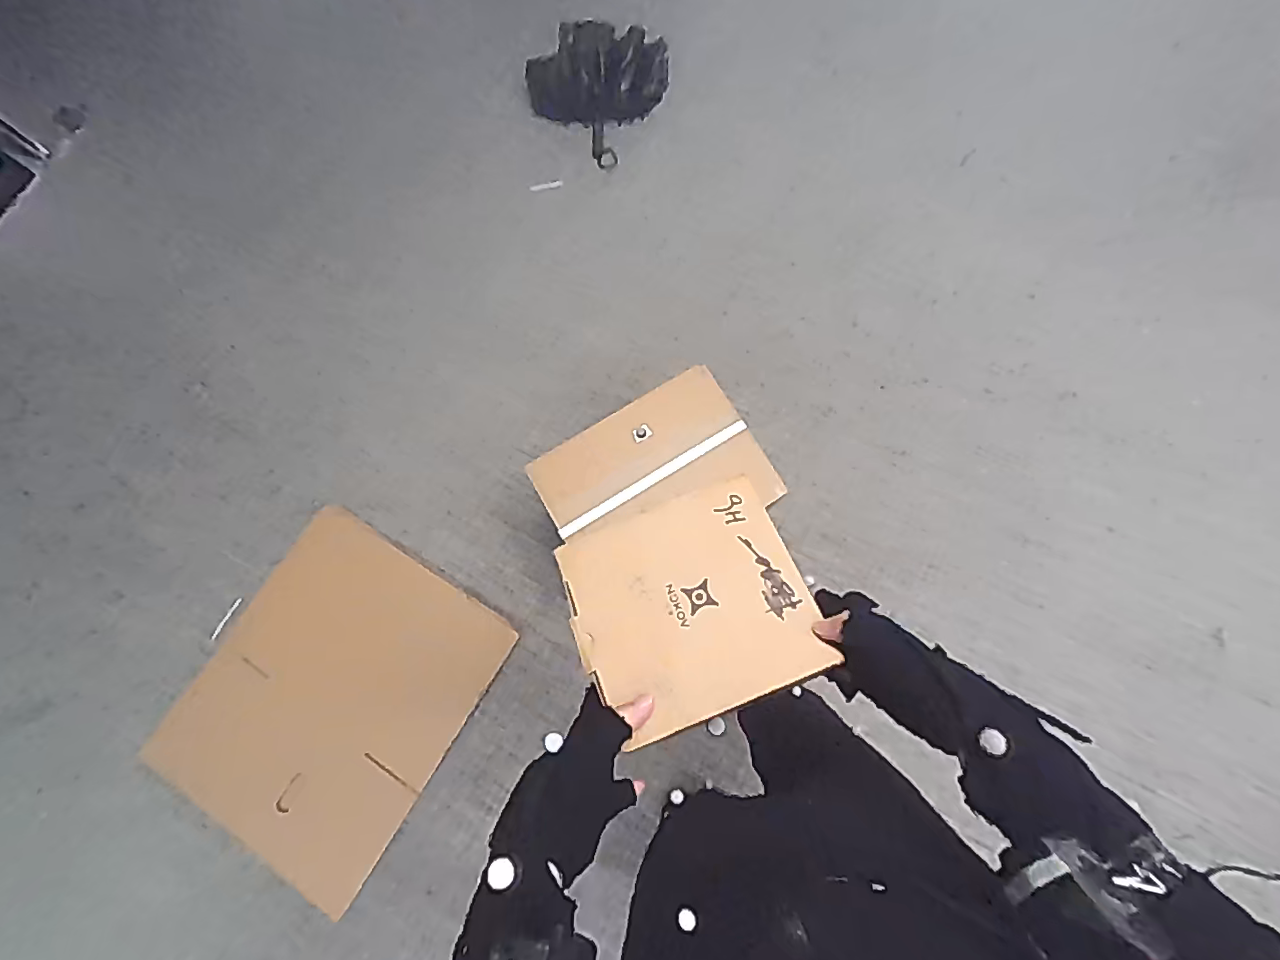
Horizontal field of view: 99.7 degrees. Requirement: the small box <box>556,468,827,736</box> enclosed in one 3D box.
[{"bbox_3d":[0.047,0.124,0.507,0.179,0.176,0.168,-25,62,-4],"label":"small box"}]
